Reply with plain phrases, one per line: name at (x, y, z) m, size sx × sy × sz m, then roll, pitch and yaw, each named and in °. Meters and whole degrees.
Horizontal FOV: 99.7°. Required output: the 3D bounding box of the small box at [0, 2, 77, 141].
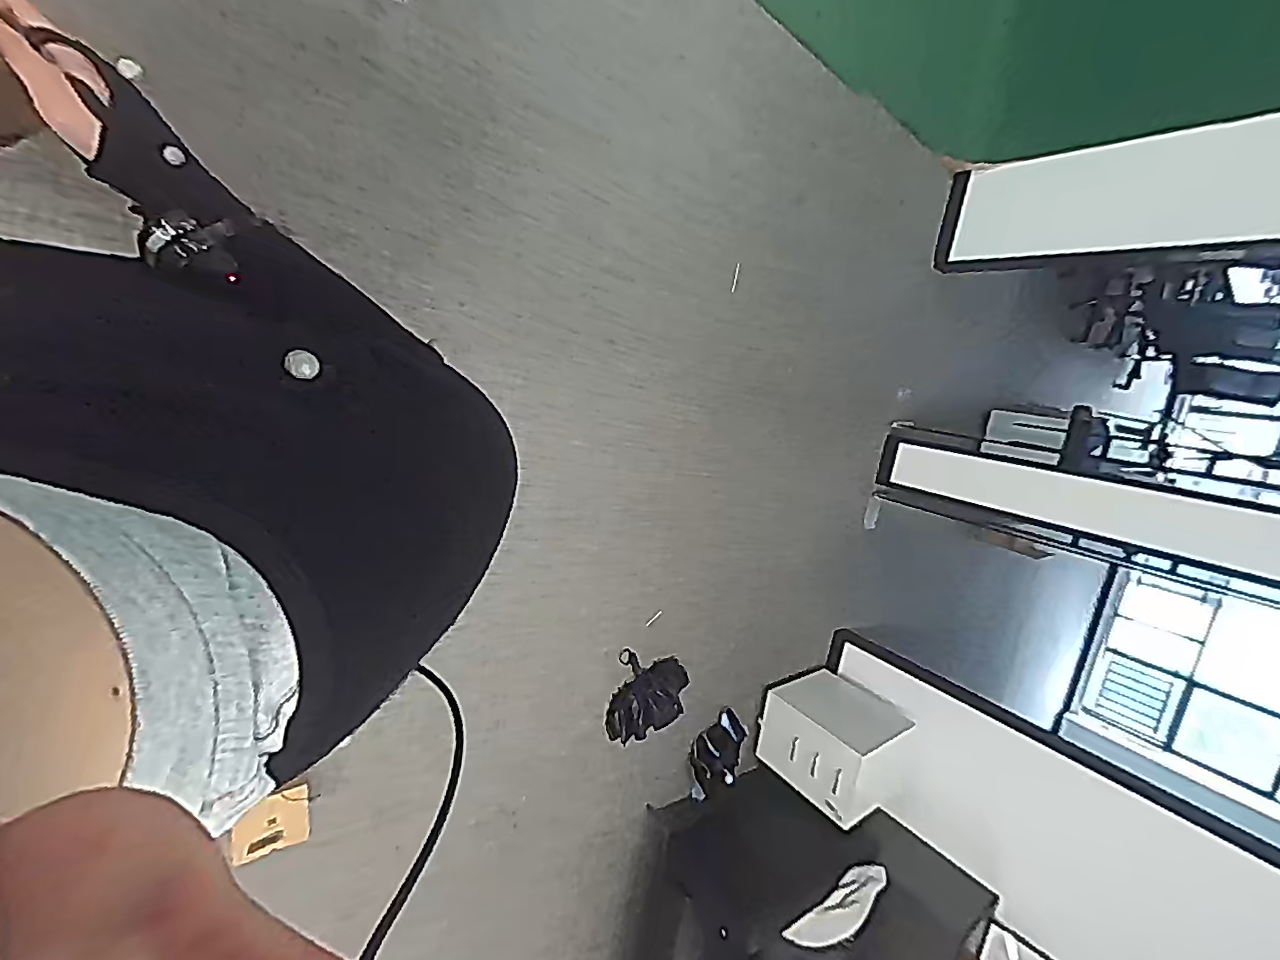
small box at (-0.537, -0.311, 0.340) m, size 0.168 × 0.176 × 0.179 m, roll -33°, pitch 122°, yaw -11°

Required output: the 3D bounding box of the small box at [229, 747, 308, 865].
small box at (-0.990, 0.859, 1.441) m, size 0.168 × 0.176 × 0.179 m, roll -4°, pitch 105°, yaw -38°
